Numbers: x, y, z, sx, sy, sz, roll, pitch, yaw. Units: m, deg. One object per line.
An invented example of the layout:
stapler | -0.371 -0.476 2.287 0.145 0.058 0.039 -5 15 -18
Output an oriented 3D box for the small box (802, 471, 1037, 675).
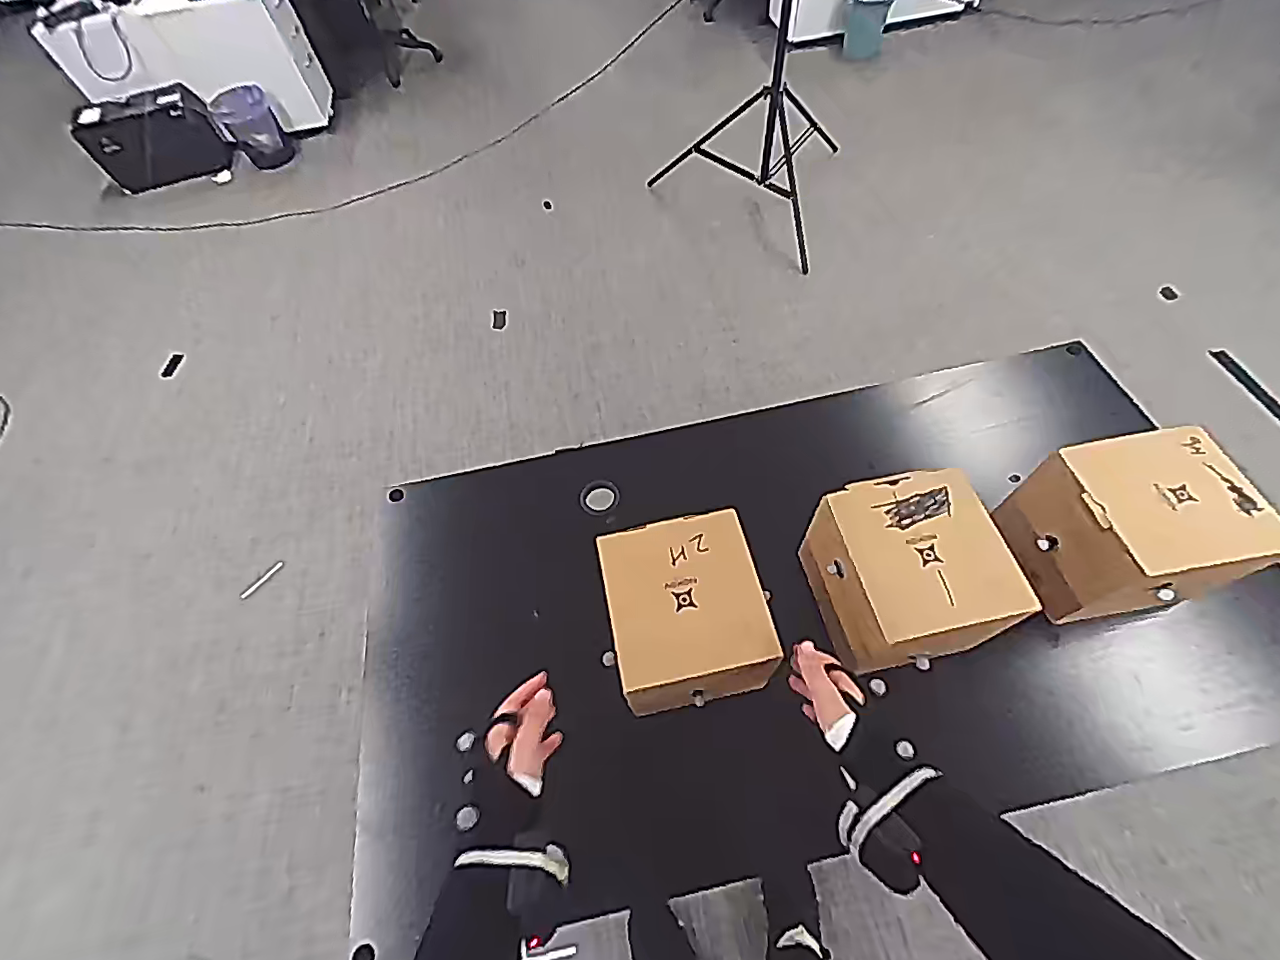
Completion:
small box | 0.312 0.116 0.653 0.168 0.176 0.179 -12 59 -2

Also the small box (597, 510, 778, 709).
small box | 0.051 0.163 0.647 0.168 0.176 0.179 -12 58 -3

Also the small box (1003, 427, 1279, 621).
small box | 0.588 0.061 0.662 0.179 0.176 0.168 -10 59 0
